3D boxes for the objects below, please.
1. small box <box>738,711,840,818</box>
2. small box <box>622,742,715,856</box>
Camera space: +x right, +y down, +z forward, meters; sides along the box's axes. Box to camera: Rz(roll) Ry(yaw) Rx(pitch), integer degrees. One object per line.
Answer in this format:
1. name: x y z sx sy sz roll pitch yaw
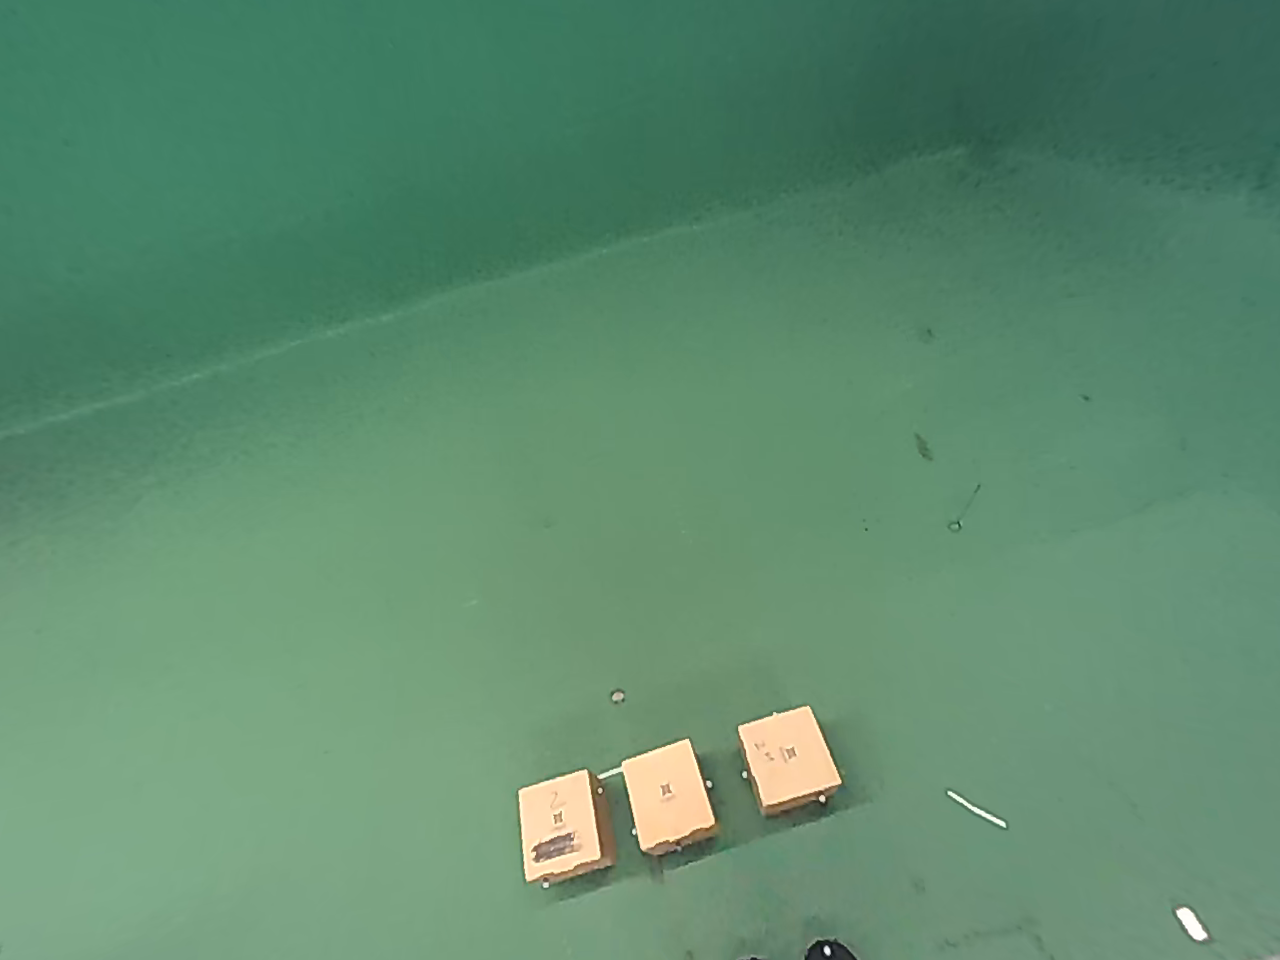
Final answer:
1. small box: 0.331 0.655 1.241 0.179 0.176 0.168 -15 51 -1
2. small box: 0.066 0.732 1.235 0.168 0.176 0.179 -17 52 -3
